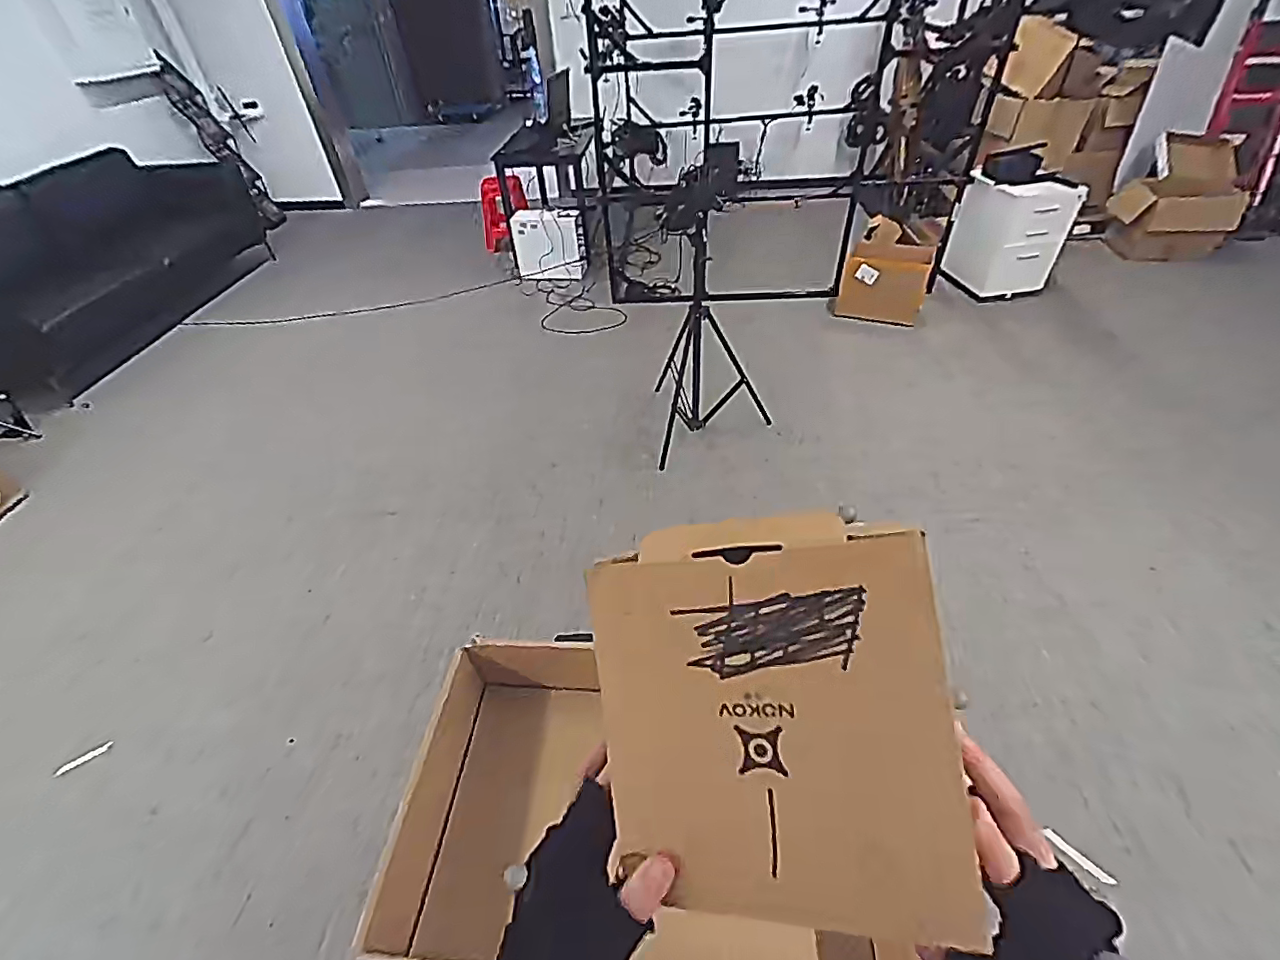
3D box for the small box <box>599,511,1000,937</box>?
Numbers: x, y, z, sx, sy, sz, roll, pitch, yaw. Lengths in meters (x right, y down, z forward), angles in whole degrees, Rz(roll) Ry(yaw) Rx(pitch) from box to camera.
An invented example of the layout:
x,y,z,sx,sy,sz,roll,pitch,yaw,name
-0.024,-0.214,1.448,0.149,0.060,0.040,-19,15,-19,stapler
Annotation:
x,y,z,sx,sy,sz,roll,pitch,yaw,name
0.090,0.115,0.329,0.168,0.179,0.176,-9,-6,21,small box
